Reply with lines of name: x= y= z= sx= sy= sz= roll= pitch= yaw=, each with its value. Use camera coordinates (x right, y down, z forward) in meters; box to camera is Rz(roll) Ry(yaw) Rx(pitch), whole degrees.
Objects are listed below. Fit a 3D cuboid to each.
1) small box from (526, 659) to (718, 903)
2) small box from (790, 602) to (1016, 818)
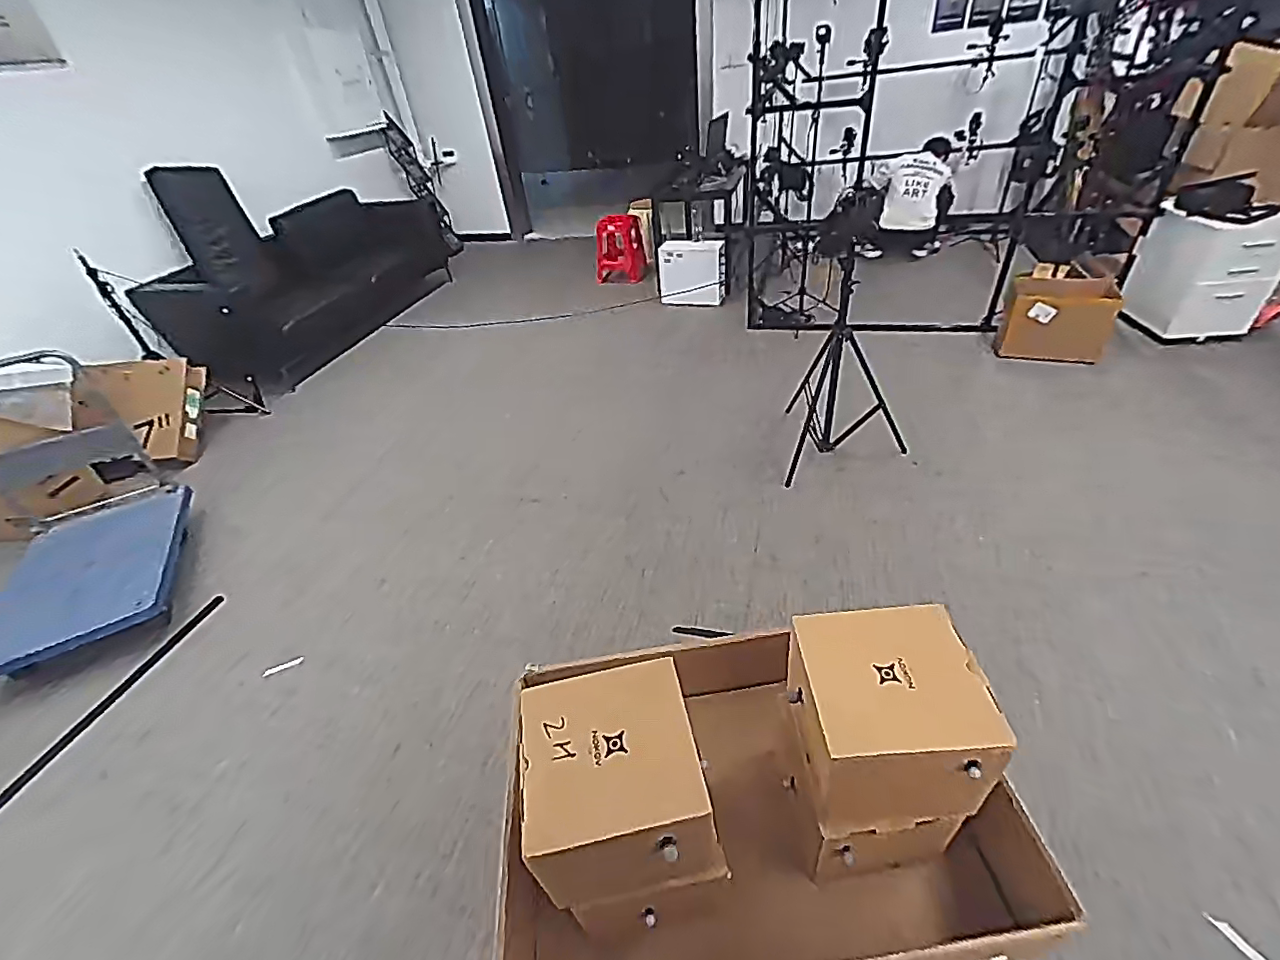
small box: x=-0.020 y=0.328 z=0.593 sx=0.179 sy=0.176 sz=0.168 roll=-12 pitch=39 yaw=-4
small box: x=0.276 y=0.264 z=0.619 sx=0.179 sy=0.176 sz=0.168 roll=-6 pitch=39 yaw=3
